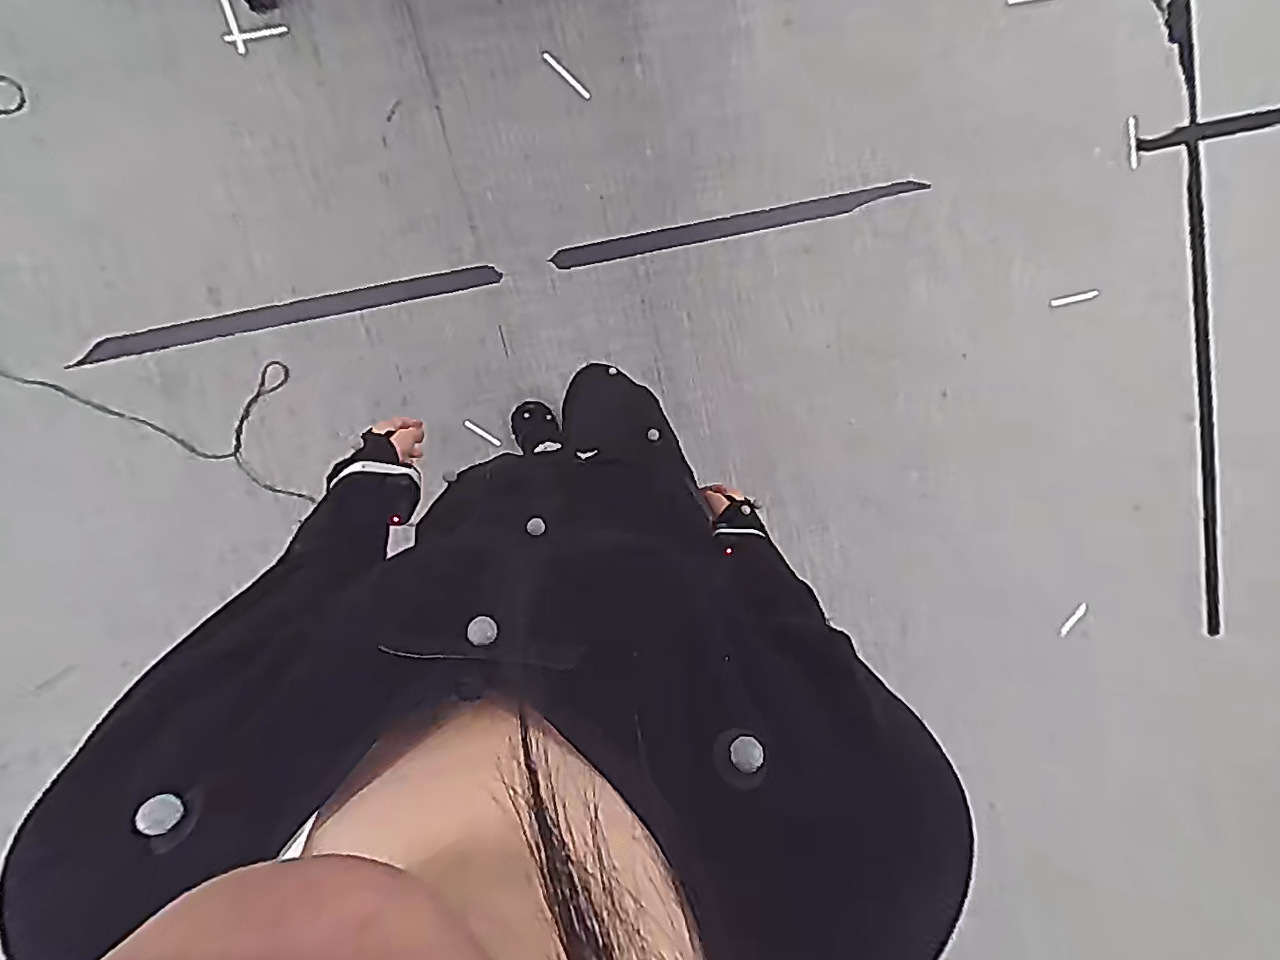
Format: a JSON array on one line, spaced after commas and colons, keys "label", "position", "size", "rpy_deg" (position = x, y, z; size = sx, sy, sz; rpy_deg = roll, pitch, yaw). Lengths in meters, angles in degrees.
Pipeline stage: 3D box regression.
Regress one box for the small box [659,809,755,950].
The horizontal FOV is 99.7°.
[{"label": "small box", "position": [0.147, 0.903, 1.236], "size": [0.168, 0.176, 0.179], "rpy_deg": [-14, 100, -5]}]
